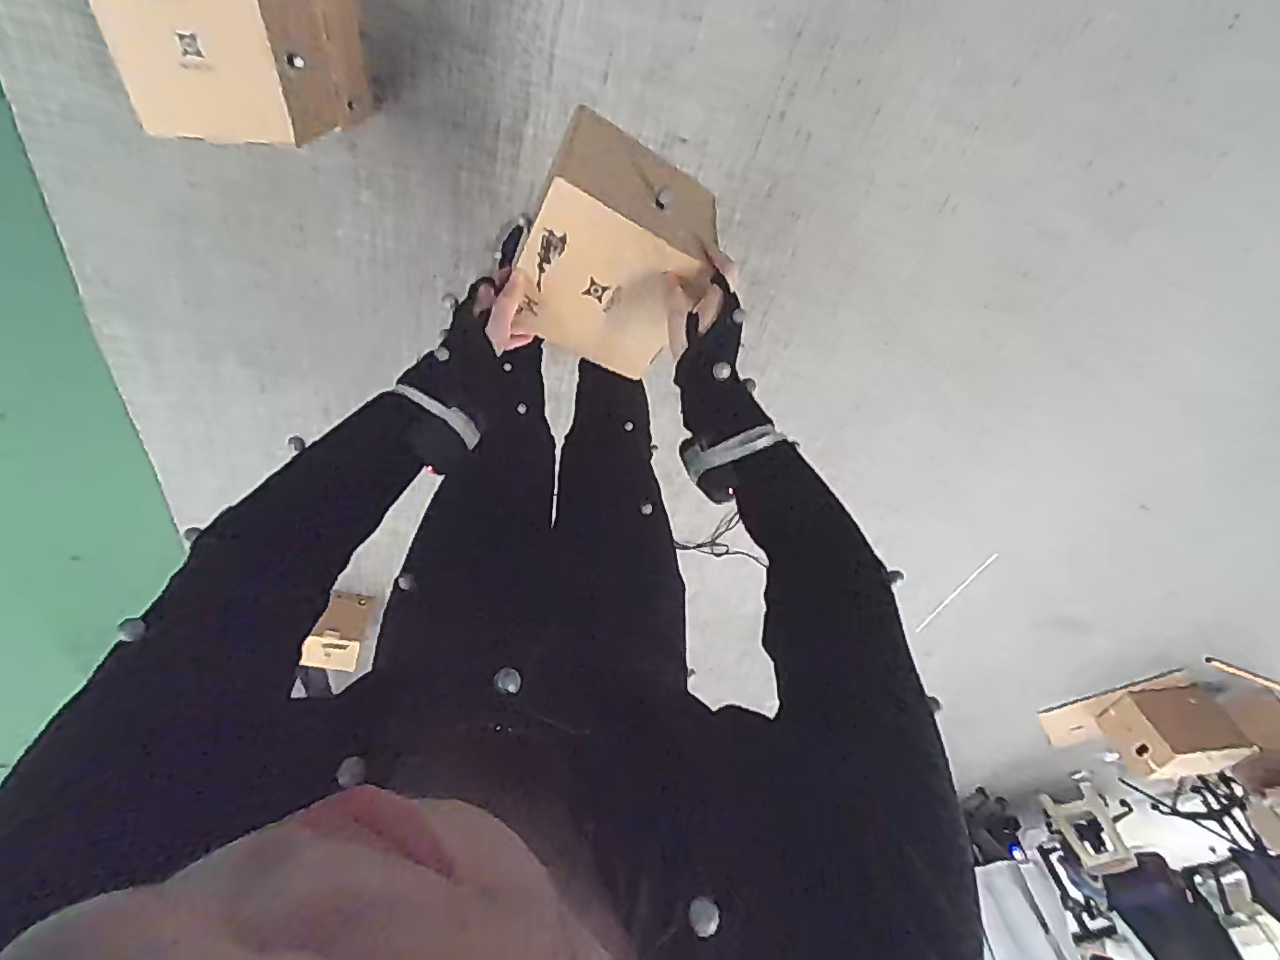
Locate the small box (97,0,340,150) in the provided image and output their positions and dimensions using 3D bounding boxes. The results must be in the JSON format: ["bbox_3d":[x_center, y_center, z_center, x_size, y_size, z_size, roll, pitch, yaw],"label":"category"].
[{"bbox_3d":[-0.486,-0.518,0.646,0.168,0.176,0.179,1,131,-8],"label":"small box"}]

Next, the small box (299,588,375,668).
[{"bbox_3d":[-0.950,0.463,1.702,0.168,0.176,0.179,16,129,-19],"label":"small box"}]

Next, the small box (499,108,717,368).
[{"bbox_3d":[-0.033,-0.264,0.599,0.179,0.176,0.168,21,140,-22],"label":"small box"}]
